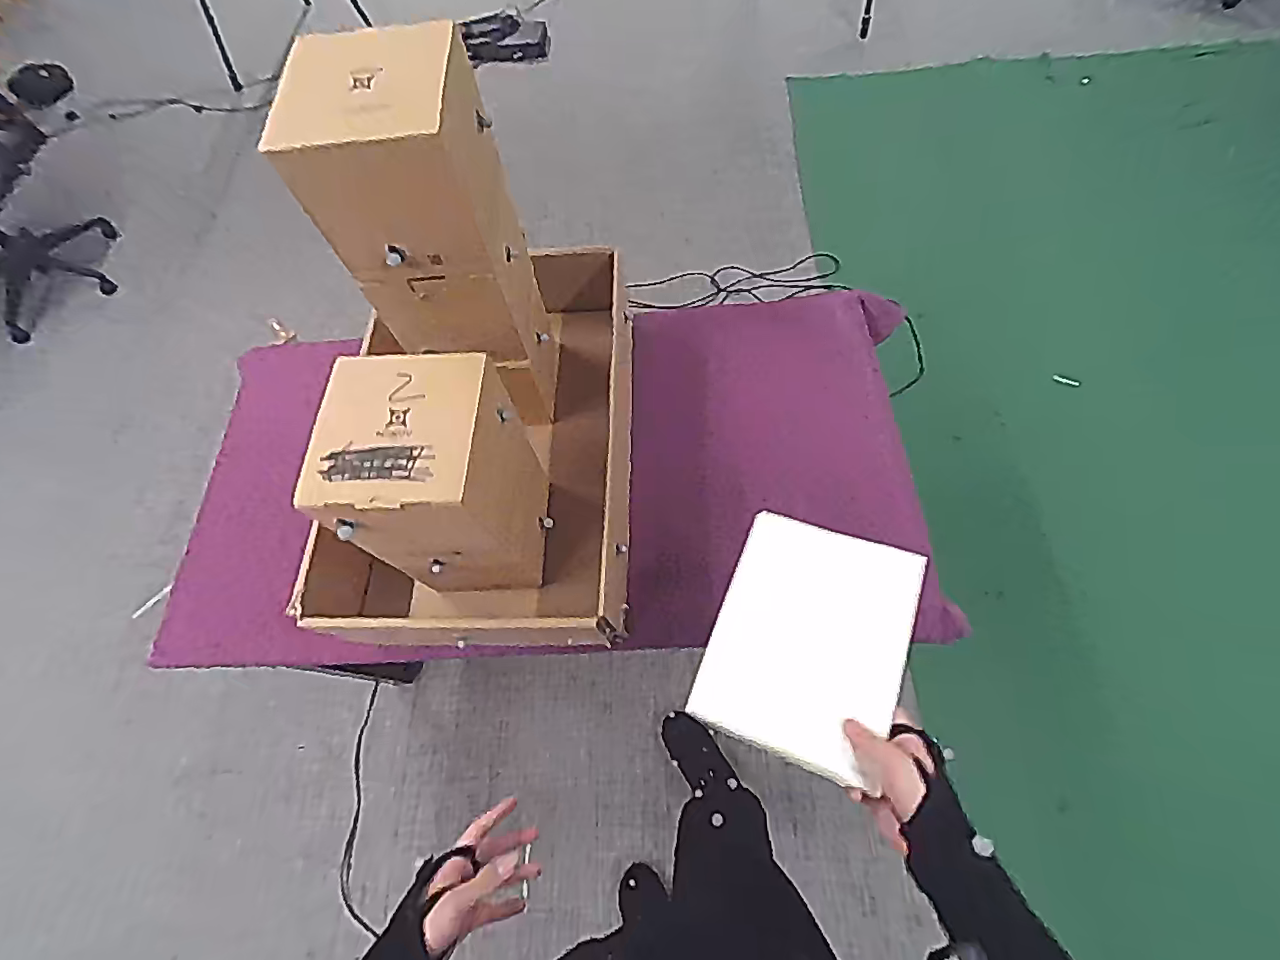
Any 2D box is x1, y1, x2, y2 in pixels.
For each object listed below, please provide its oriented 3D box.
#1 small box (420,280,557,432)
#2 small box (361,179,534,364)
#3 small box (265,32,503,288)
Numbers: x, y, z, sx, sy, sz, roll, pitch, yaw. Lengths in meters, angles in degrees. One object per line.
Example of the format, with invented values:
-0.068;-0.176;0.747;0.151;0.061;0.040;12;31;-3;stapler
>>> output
-0.235;-0.197;0.884;0.168;0.176;0.179;-4;66;2;small box
-0.246;-0.272;0.738;0.168;0.176;0.179;-4;65;2;small box
-0.255;-0.338;0.590;0.168;0.176;0.179;-4;66;3;small box
